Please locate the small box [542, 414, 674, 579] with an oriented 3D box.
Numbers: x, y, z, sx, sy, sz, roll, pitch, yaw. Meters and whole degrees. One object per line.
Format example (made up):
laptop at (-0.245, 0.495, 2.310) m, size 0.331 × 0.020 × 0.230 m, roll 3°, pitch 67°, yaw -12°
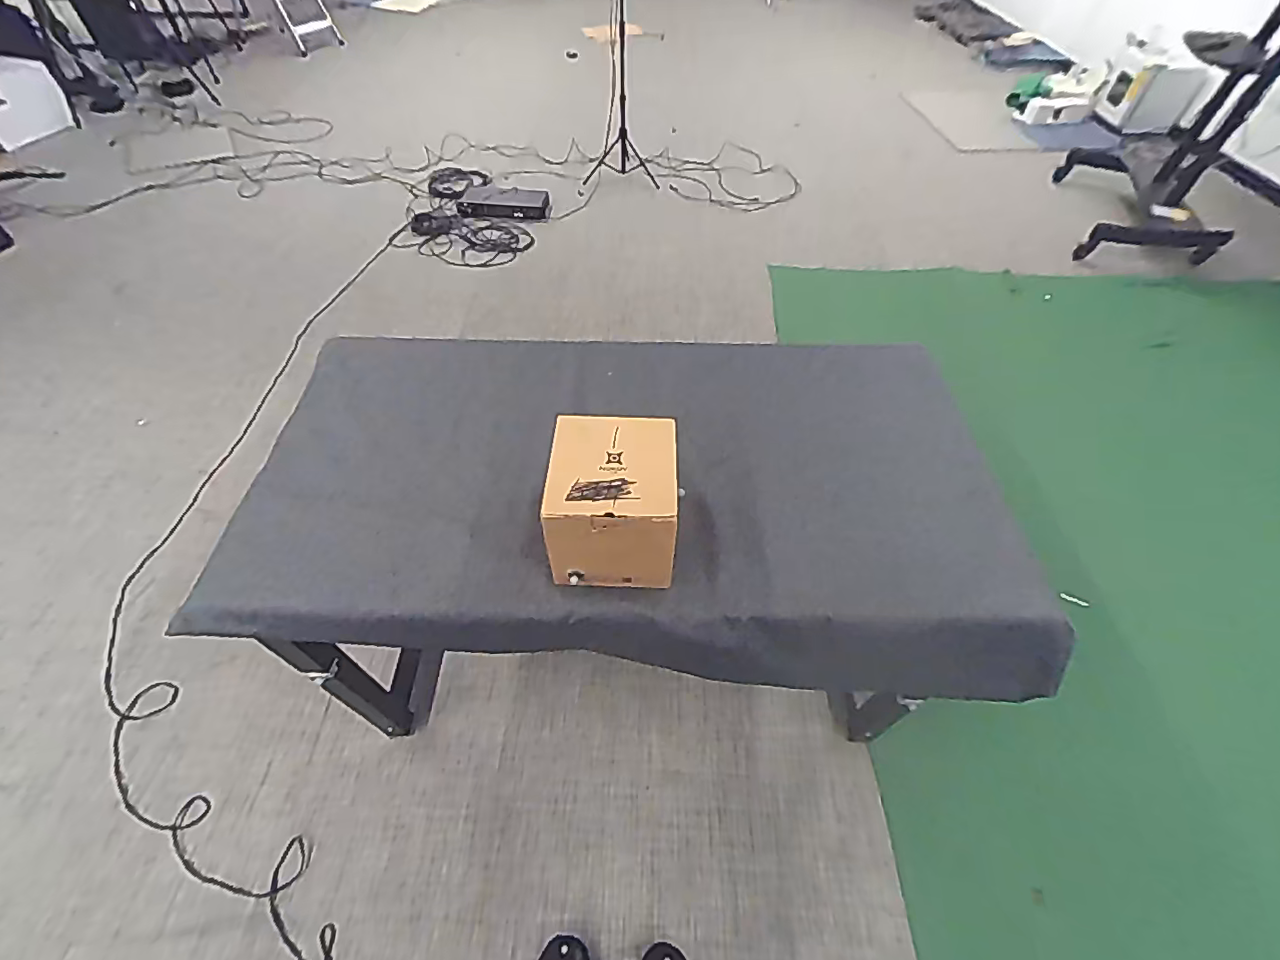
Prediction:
small box at (-0.037, 0.027, 0.777) m, size 0.168 × 0.176 × 0.179 m, roll 2°, pitch 50°, yaw 0°
